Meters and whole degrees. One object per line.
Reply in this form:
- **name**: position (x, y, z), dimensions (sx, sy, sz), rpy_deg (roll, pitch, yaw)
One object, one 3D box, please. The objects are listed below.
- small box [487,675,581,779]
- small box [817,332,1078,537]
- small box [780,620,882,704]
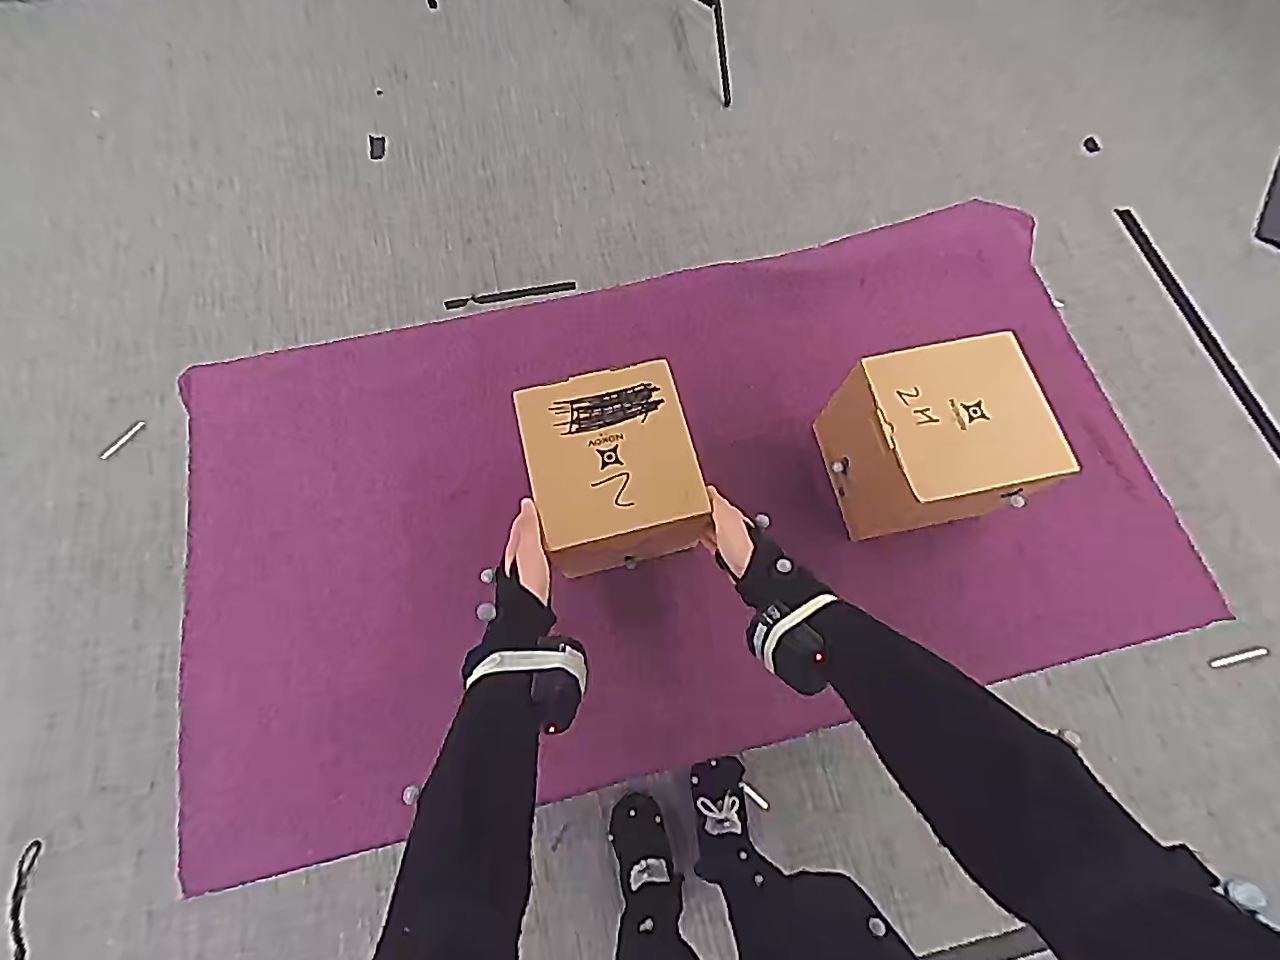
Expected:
- **small box**: position (-0.230, 0.538, 1.194), dimensions (0.168, 0.176, 0.179), rpy_deg (-11, 70, -4)
- **small box**: position (0.331, -0.043, 0.624), dimensions (0.179, 0.176, 0.168), rpy_deg (-11, 71, -3)
- **small box**: position (0.431, 0.414, 1.241), dimensions (0.179, 0.176, 0.168), rpy_deg (3, 72, 2)
